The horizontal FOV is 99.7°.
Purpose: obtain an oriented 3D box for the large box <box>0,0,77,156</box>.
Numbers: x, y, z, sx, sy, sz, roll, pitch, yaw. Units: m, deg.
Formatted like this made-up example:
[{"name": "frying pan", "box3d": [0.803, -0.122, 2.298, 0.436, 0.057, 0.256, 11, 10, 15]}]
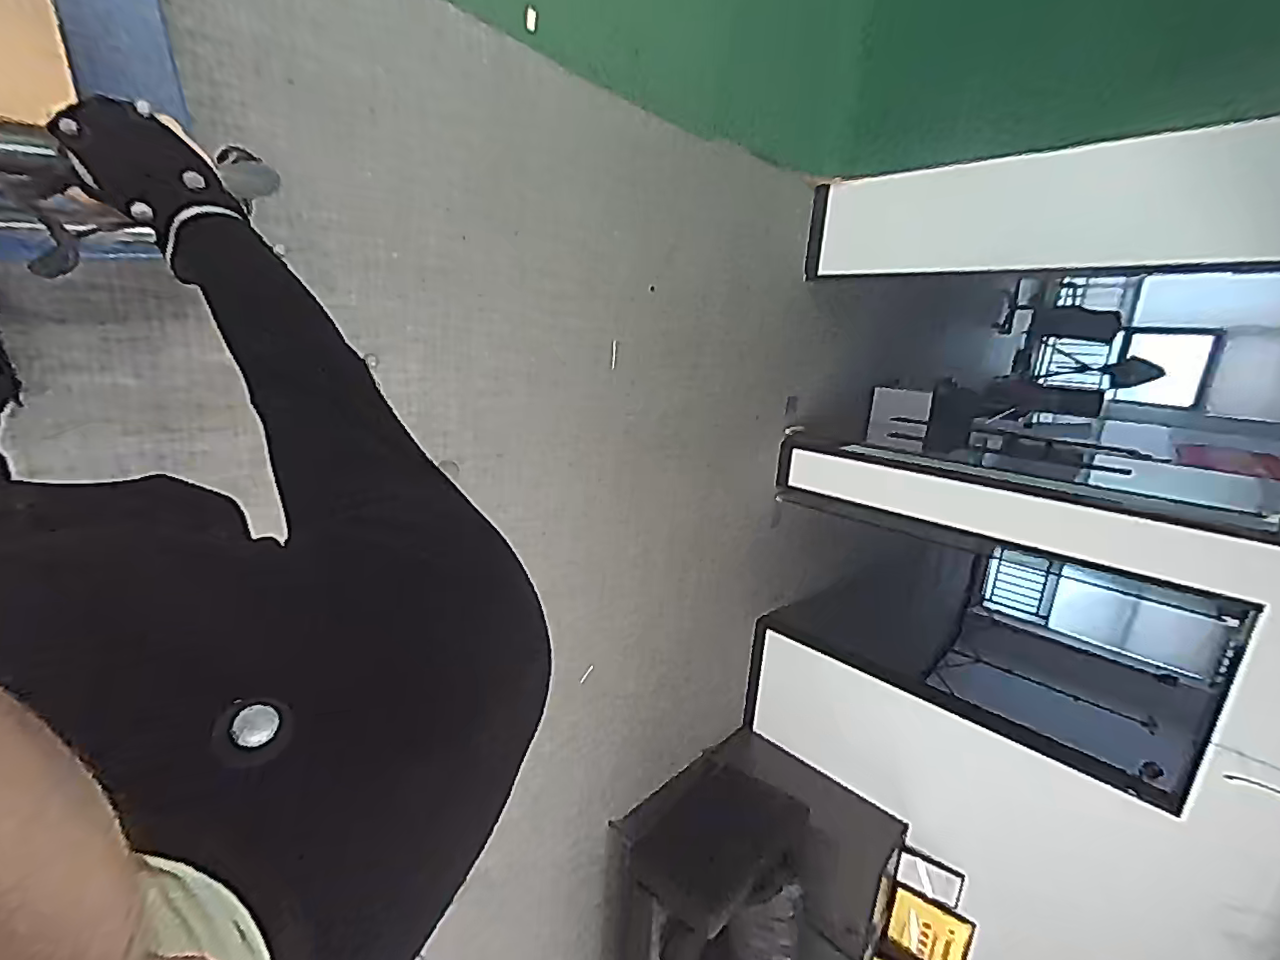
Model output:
[{"name": "large box", "box3d": [-0.952, -0.664, 0.649, 0.320, 0.320, 0.408, -16, 115, -43]}]
